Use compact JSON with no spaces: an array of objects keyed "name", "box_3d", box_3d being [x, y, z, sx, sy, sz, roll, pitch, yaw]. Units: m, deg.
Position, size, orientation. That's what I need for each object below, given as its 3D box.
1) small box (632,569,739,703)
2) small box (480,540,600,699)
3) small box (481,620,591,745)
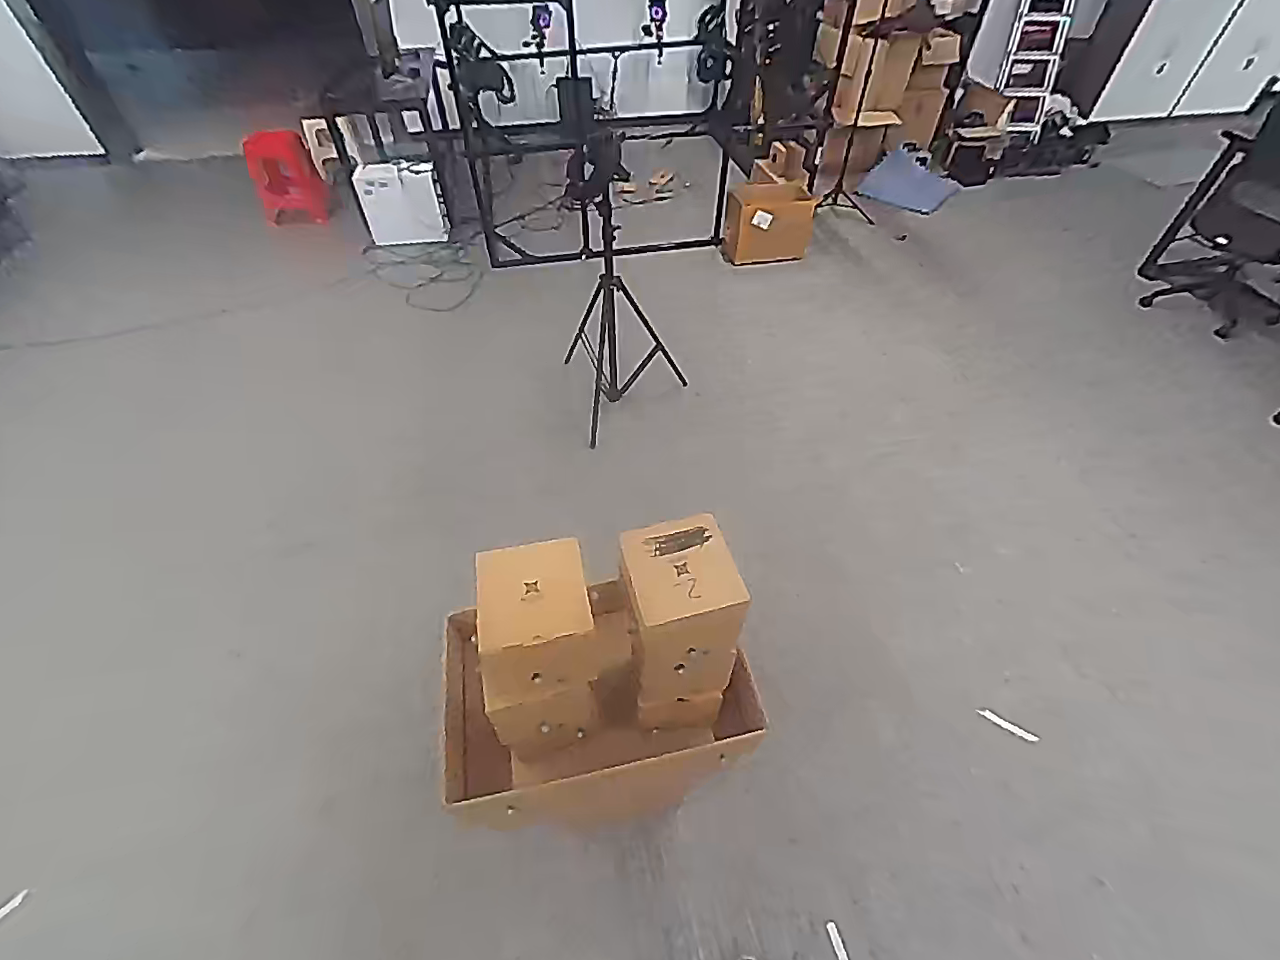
[{"name":"small box","box_3d":[0.076,0.296,1.026,0.168,0.176,0.179,-7,48,-6]},{"name":"small box","box_3d":[-0.161,0.226,0.879,0.168,0.176,0.179,-9,49,-11]},{"name":"small box","box_3d":[-0.187,0.350,0.986,0.168,0.176,0.179,-11,50,-12]}]
